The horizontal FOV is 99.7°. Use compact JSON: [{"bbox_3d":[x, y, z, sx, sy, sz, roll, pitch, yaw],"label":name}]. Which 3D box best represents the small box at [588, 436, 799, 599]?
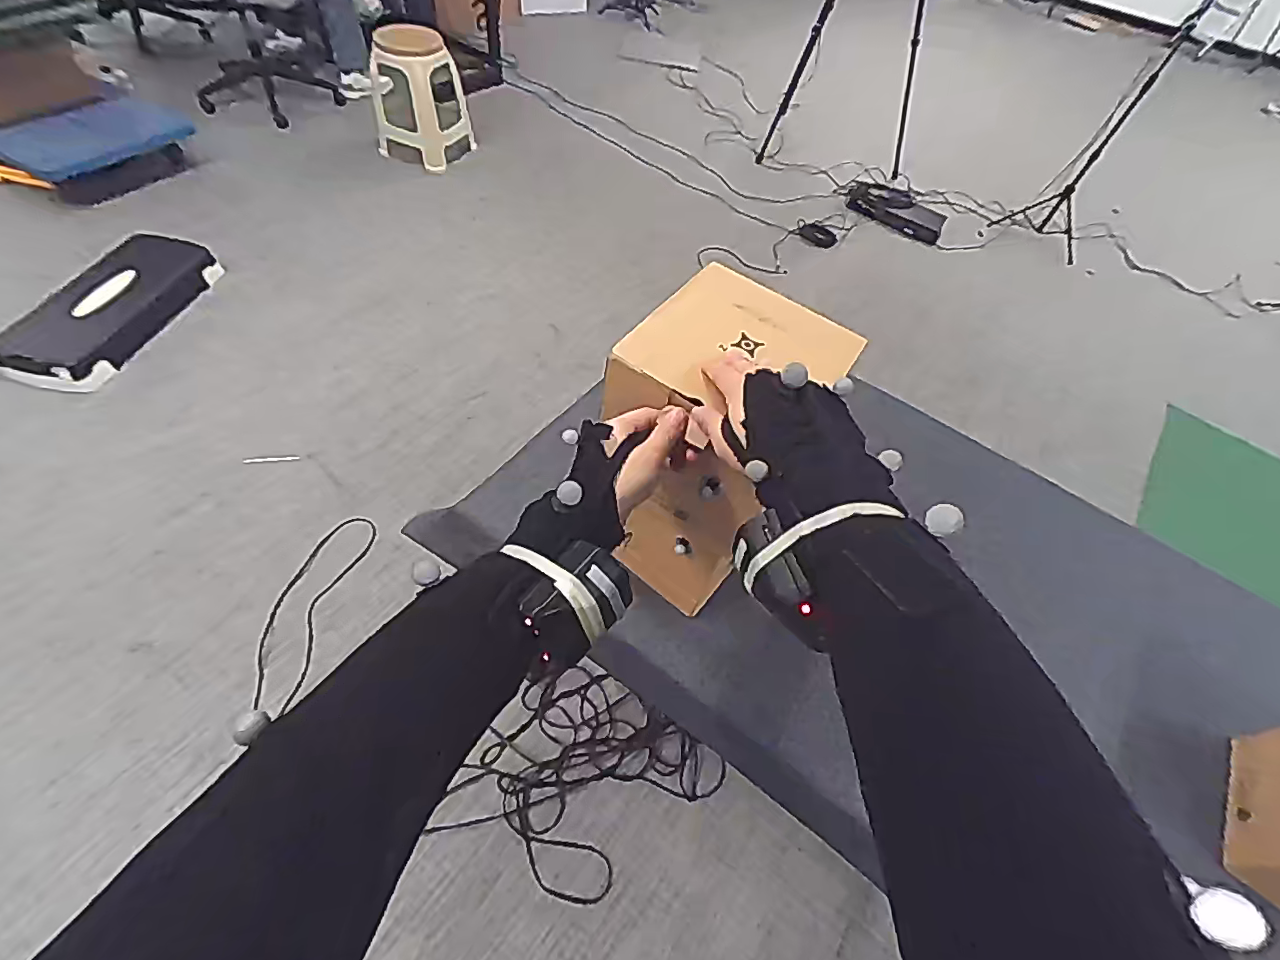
[{"bbox_3d":[0.052,0.012,0.651,0.179,0.176,0.168,37,58,16],"label":"small box"}]

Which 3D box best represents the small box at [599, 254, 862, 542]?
[{"bbox_3d":[0.073,-0.073,0.514,0.168,0.176,0.179,32,56,12],"label":"small box"}]
